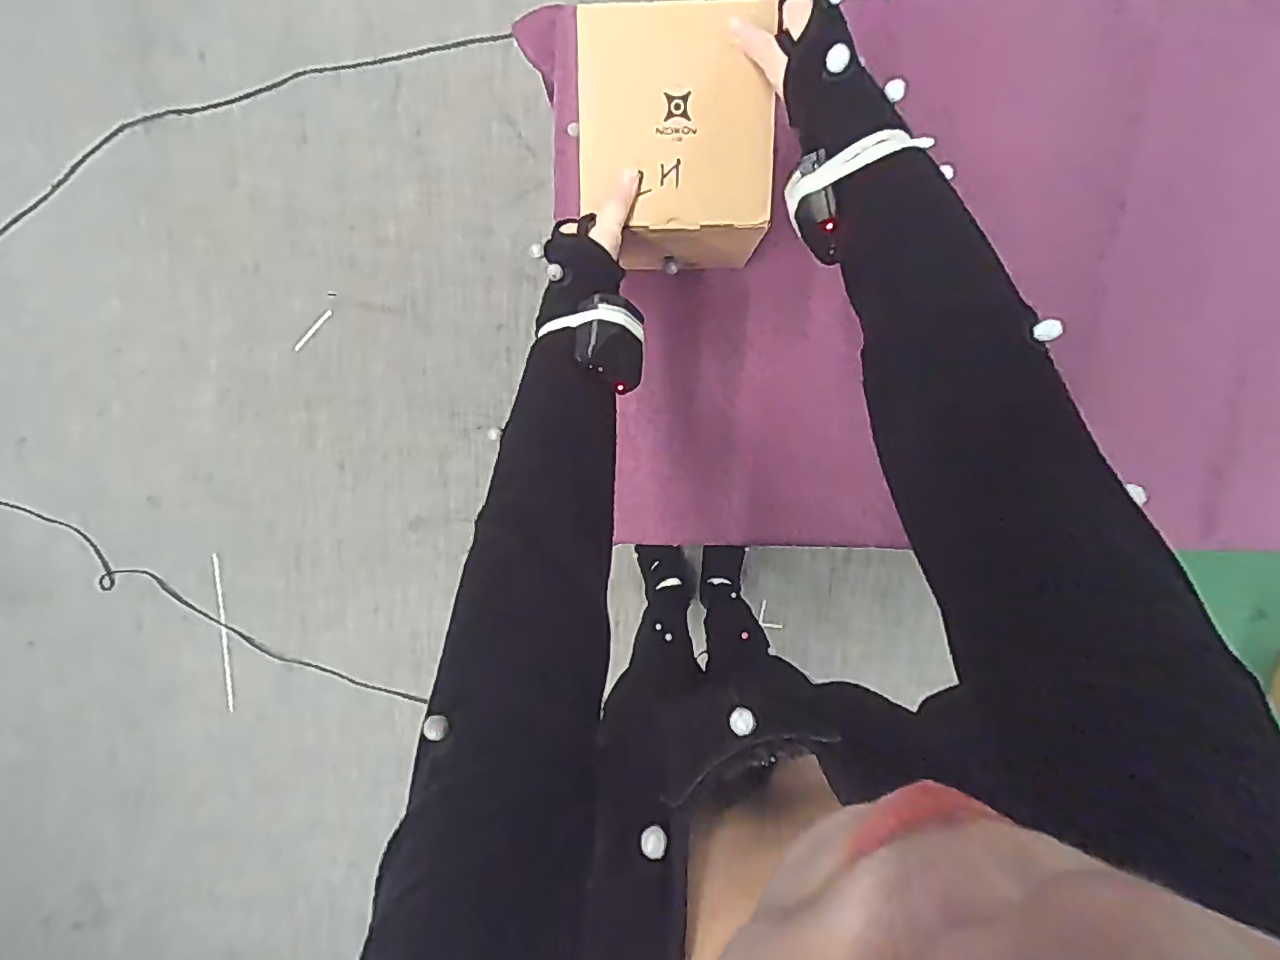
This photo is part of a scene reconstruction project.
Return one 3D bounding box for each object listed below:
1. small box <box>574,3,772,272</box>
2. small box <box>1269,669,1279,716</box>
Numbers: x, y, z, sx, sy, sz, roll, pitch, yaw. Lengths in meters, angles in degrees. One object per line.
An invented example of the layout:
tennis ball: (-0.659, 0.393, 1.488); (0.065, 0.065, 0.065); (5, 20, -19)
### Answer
small box: (0.028, -0.316, 0.534); (0.168, 0.176, 0.179); (1, 100, 3)
small box: (1.738, 0.551, 1.334); (0.168, 0.176, 0.179); (5, 99, 2)
